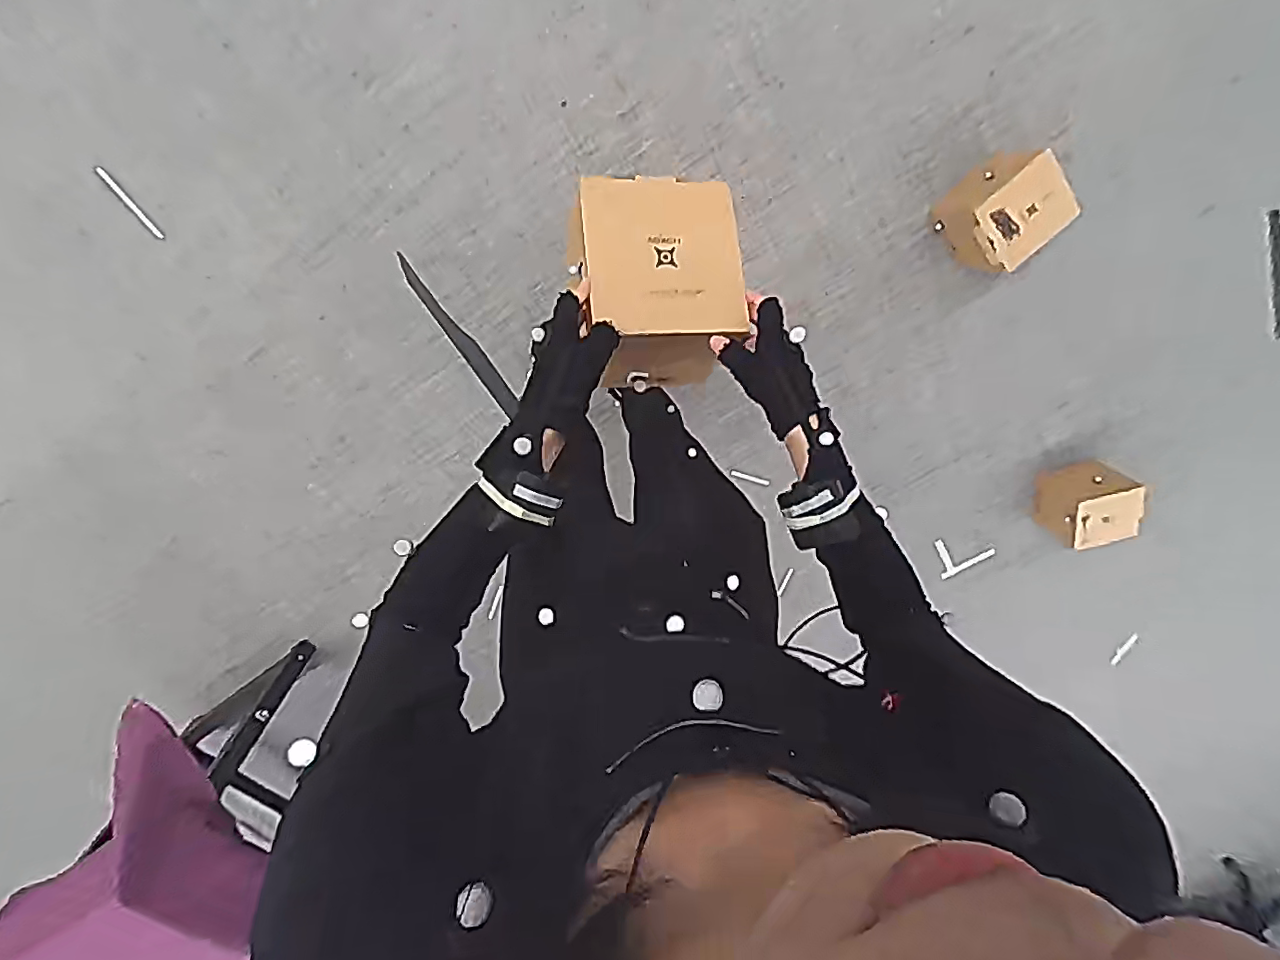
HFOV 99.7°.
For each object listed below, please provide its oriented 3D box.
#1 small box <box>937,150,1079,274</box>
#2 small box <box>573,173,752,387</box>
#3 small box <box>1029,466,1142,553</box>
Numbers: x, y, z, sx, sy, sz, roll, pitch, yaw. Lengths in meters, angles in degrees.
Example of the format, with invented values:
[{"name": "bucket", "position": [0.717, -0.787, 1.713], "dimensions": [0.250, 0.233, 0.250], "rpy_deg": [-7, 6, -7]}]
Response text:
[{"name": "small box", "position": [0.791, -0.581, 1.186], "dimensions": [0.179, 0.176, 0.168], "rpy_deg": [-40, 112, 14]}, {"name": "small box", "position": [0.013, -0.223, 0.635], "dimensions": [0.168, 0.176, 0.179], "rpy_deg": [-5, 80, -11]}, {"name": "small box", "position": [1.262, 0.078, 1.543], "dimensions": [0.179, 0.176, 0.168], "rpy_deg": [-15, 116, 4]}]
